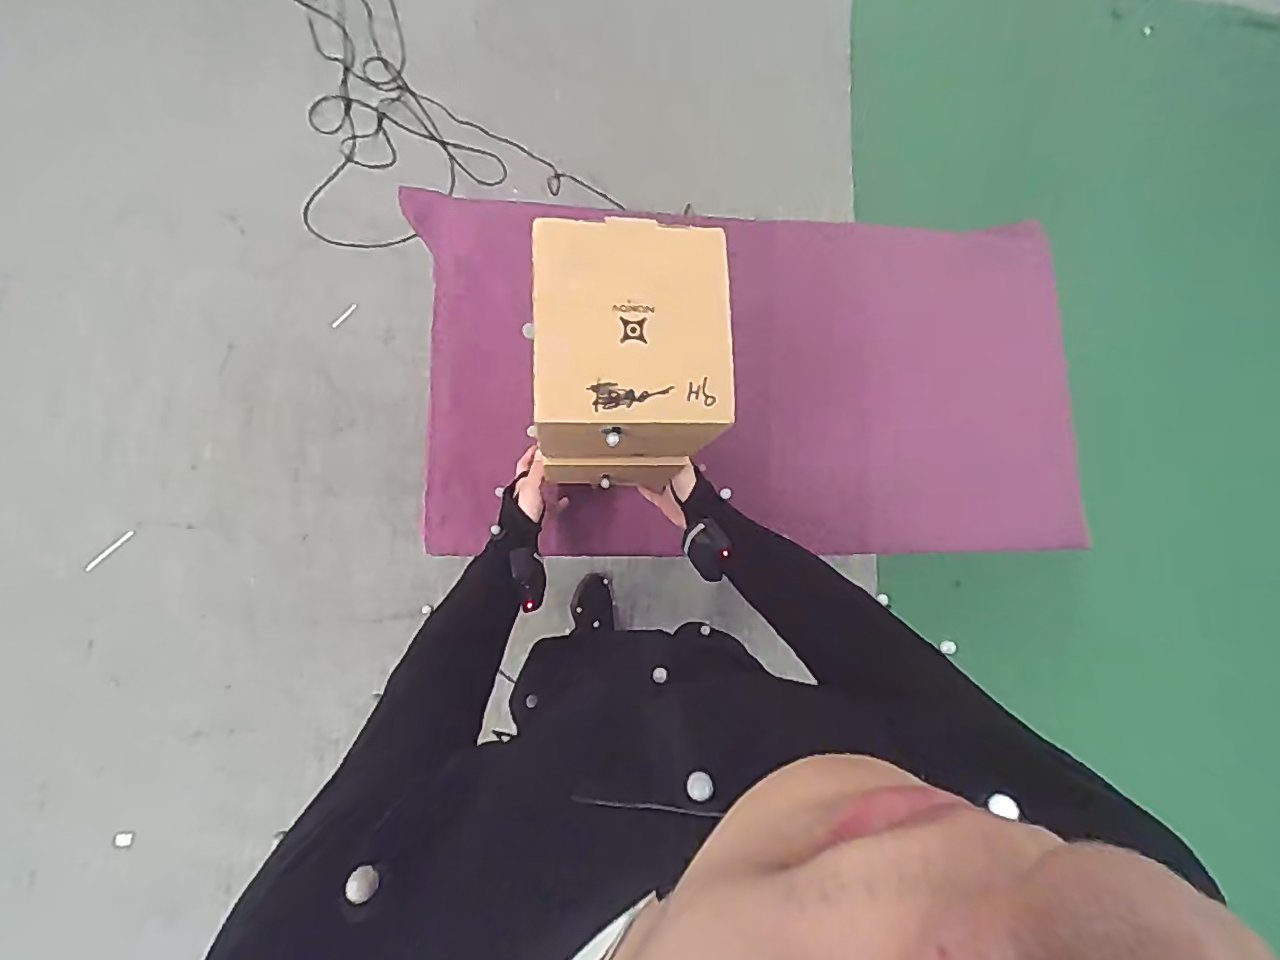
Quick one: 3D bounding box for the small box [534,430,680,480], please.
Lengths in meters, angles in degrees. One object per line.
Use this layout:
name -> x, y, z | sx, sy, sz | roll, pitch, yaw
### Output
small box -> -0.045, -0.093, 0.686 | 0.168, 0.176, 0.179 | 0, 83, -8

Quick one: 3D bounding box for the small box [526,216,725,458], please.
small box -> -0.023, -0.123, 0.526 | 0.168, 0.176, 0.179 | -1, 83, -7
